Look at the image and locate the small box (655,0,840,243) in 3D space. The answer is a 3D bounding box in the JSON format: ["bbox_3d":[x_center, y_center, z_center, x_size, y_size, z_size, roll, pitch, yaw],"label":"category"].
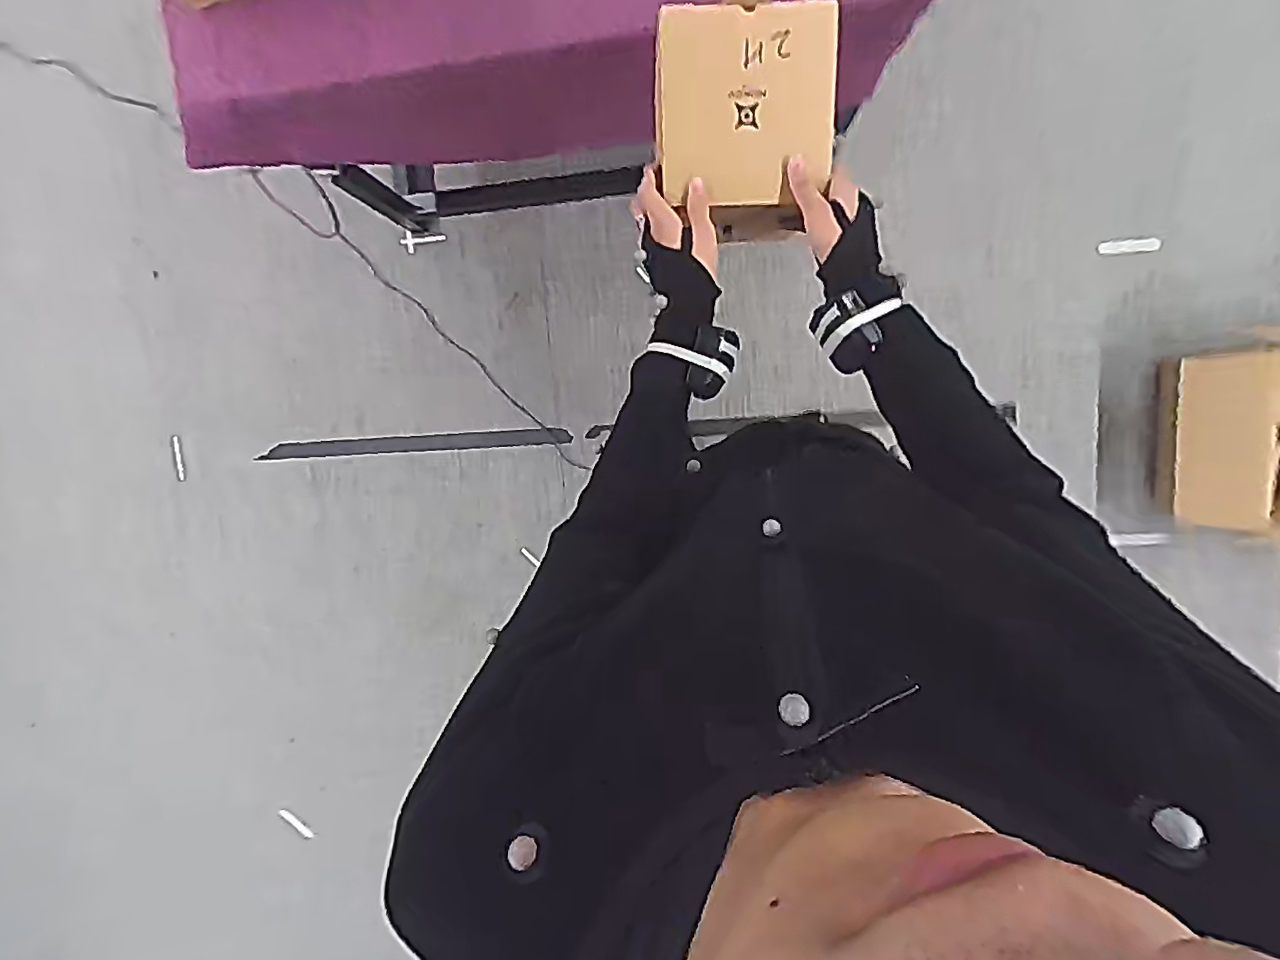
[{"bbox_3d":[0.102,-0.363,0.584,0.168,0.176,0.179,-1,101,0],"label":"small box"}]
